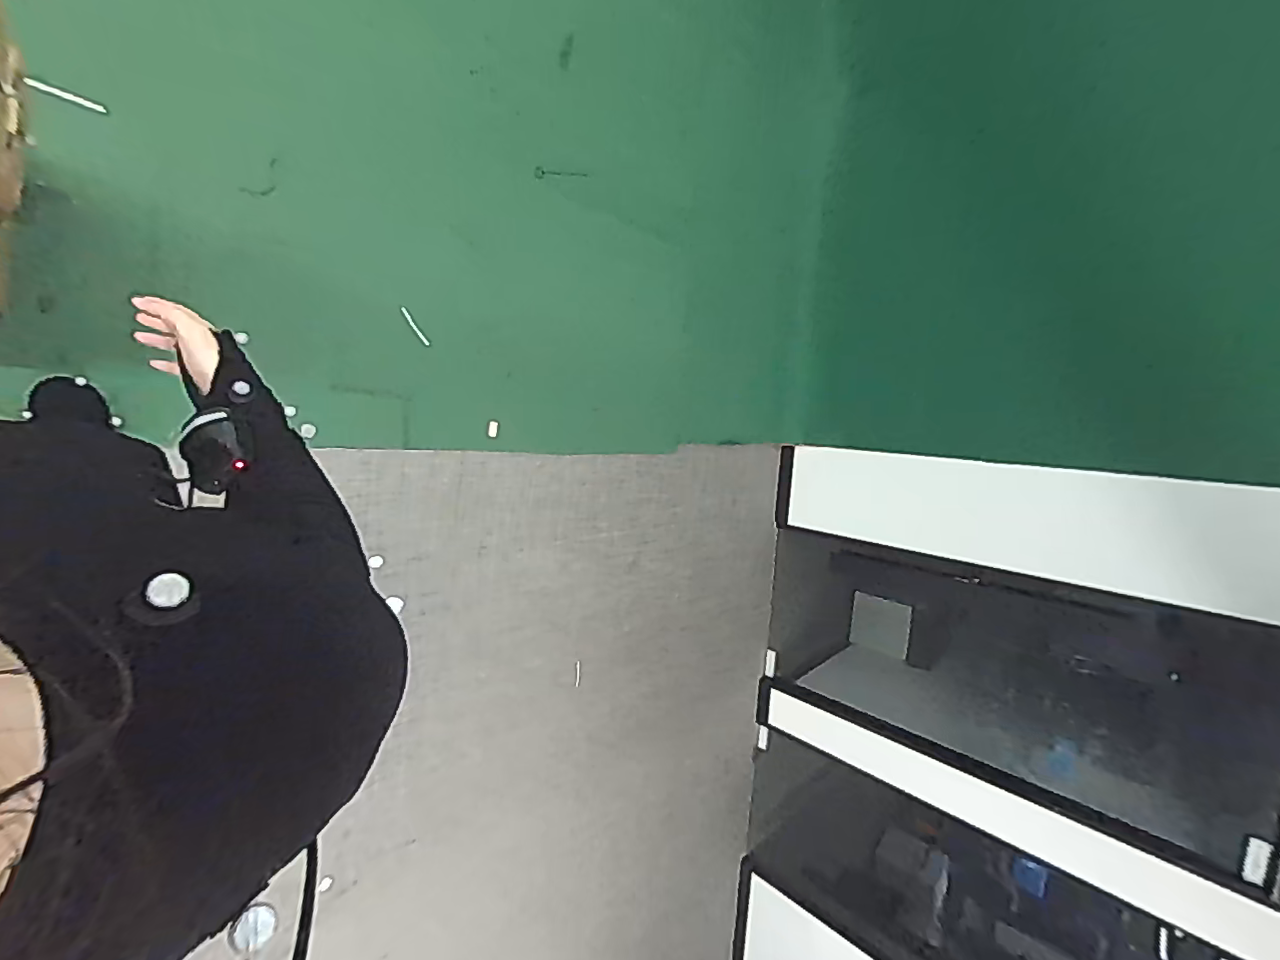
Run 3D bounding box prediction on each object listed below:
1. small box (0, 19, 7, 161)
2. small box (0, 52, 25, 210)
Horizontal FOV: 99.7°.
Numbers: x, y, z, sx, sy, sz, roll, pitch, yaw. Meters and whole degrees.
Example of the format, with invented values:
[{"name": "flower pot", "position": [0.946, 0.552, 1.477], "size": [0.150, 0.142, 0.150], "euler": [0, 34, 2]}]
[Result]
[{"name": "small box", "position": [-0.758, -0.428, 0.530], "size": [0.168, 0.176, 0.179], "euler": [4, 95, -45]}, {"name": "small box", "position": [-0.876, -0.446, 0.645], "size": [0.179, 0.176, 0.168], "euler": [6, 92, -45]}]
